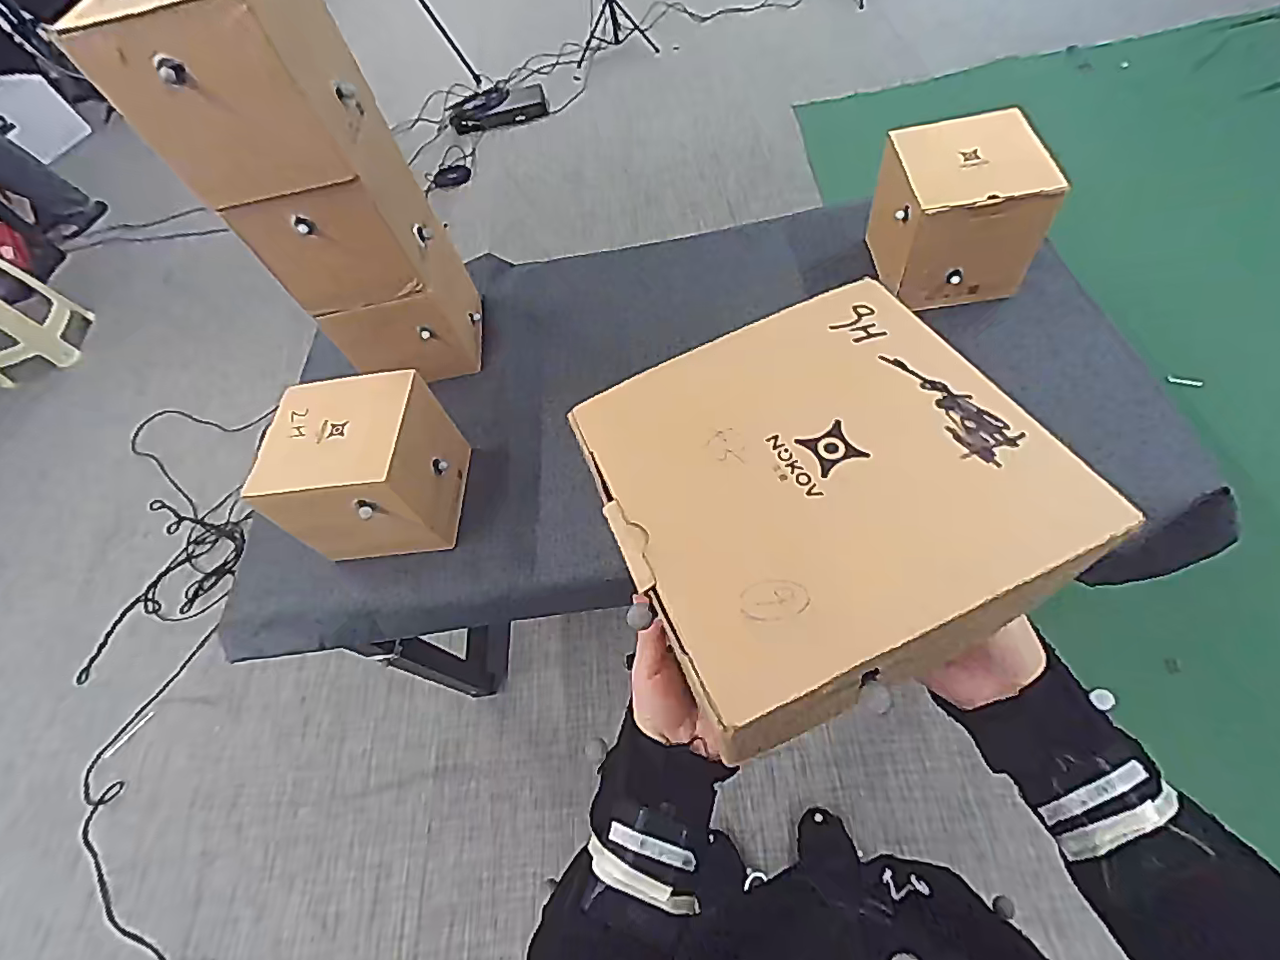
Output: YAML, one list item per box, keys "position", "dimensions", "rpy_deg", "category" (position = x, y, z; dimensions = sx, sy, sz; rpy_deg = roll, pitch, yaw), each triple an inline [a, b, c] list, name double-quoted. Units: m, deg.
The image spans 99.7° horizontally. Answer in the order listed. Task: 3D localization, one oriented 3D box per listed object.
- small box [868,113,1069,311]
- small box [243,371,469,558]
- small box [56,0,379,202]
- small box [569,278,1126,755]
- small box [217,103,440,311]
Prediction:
- position: [0.433, -0.364, 0.752]
  dimensions: [0.168, 0.176, 0.179]
  rpy_deg: [-6, 61, 8]
  category: "small box"
- position: [-0.338, -0.013, 0.688]
  dimensions: [0.179, 0.176, 0.168]
  rpy_deg: [-6, 56, 7]
  category: "small box"
- position: [-0.408, -0.419, 0.561]
  dimensions: [0.179, 0.176, 0.168]
  rpy_deg: [-9, 61, 4]
  category: "small box"
- position: [0.086, 0.031, 0.301]
  dimensions: [0.179, 0.176, 0.168]
  rpy_deg: [-25, 58, -5]
  category: "small box"
- position: [-0.387, -0.346, 0.707]
  dimensions: [0.179, 0.176, 0.168]
  rpy_deg: [-11, 61, 3]
  category: "small box"
